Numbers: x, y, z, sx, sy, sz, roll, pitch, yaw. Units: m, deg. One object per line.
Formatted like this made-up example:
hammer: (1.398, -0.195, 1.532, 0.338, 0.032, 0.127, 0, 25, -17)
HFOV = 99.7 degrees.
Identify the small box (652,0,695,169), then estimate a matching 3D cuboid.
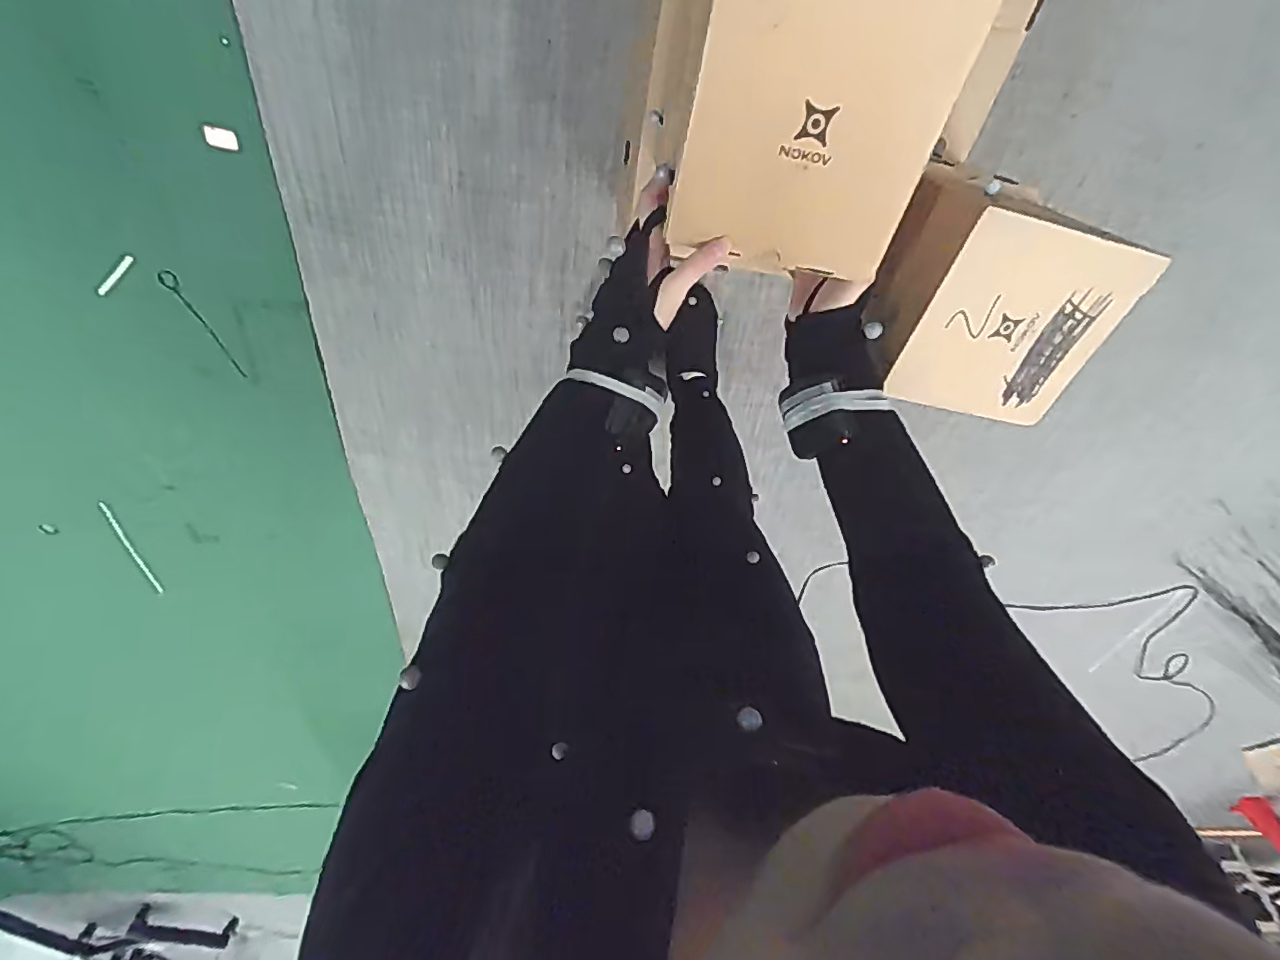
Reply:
small box: (0.108, -0.412, 0.548, 0.168, 0.176, 0.179, 7, 127, -8)

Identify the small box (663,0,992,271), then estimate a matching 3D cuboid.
small box: (0.114, -0.291, 0.413, 0.168, 0.176, 0.179, 10, 132, -5)

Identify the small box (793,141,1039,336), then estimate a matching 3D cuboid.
small box: (0.303, -0.298, 0.643, 0.168, 0.176, 0.179, 8, 127, -10)
